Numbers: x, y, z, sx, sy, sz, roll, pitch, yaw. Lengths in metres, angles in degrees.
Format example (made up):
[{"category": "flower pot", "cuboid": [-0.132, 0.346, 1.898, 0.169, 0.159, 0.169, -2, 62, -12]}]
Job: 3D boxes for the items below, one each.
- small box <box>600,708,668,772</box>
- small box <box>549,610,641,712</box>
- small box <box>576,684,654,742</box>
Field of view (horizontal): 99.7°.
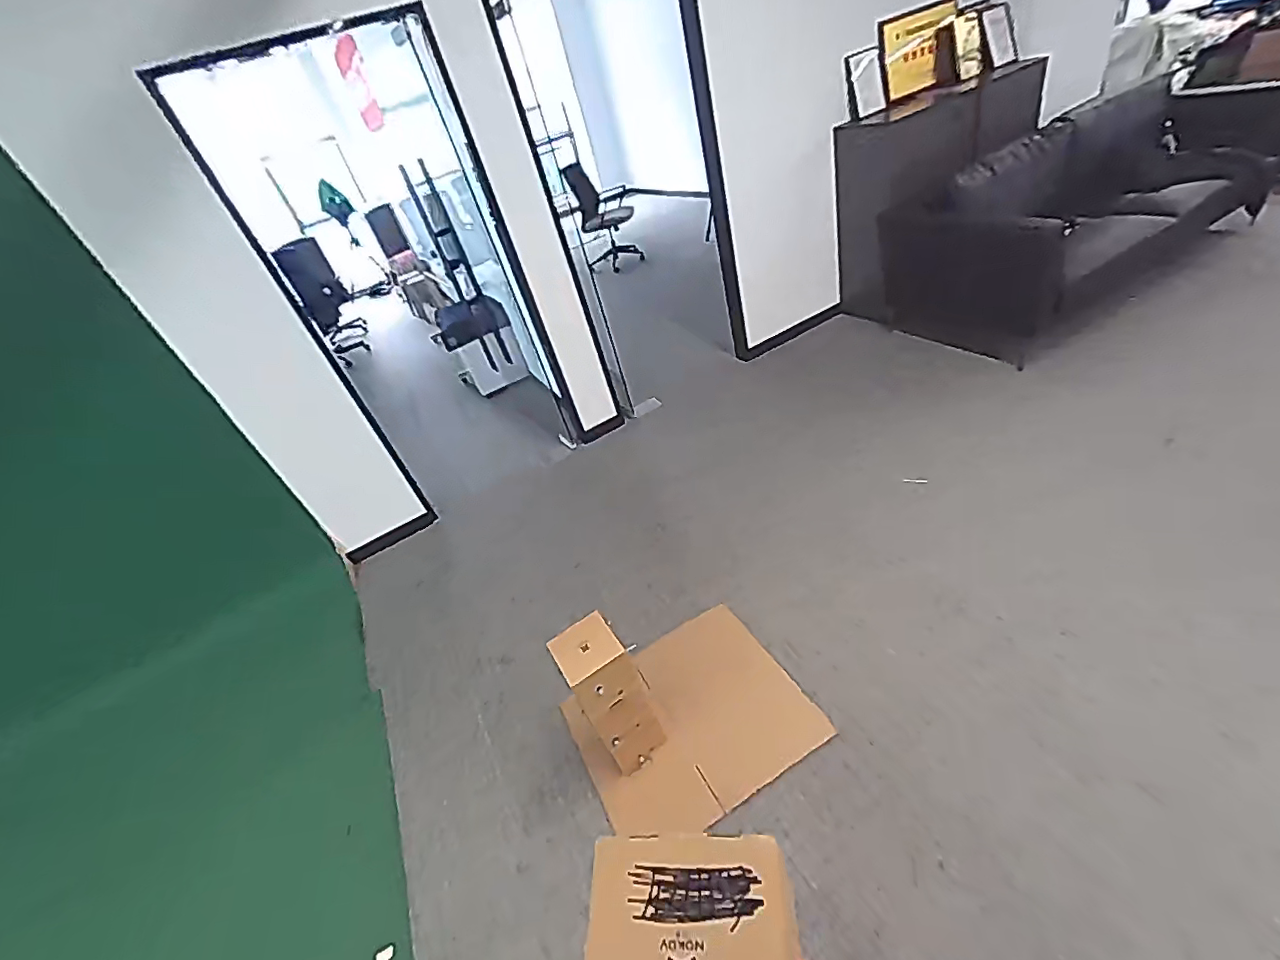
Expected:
[{"category": "small box", "cuboid": [-0.040, 0.751, 1.660, 0.168, 0.176, 0.179, -33, 39, -19]}, {"category": "small box", "cuboid": [-0.119, 0.498, 1.471, 0.168, 0.176, 0.179, -31, 37, -15]}, {"category": "small box", "cuboid": [-0.081, 0.625, 1.564, 0.168, 0.176, 0.179, -31, 37, -16]}]
